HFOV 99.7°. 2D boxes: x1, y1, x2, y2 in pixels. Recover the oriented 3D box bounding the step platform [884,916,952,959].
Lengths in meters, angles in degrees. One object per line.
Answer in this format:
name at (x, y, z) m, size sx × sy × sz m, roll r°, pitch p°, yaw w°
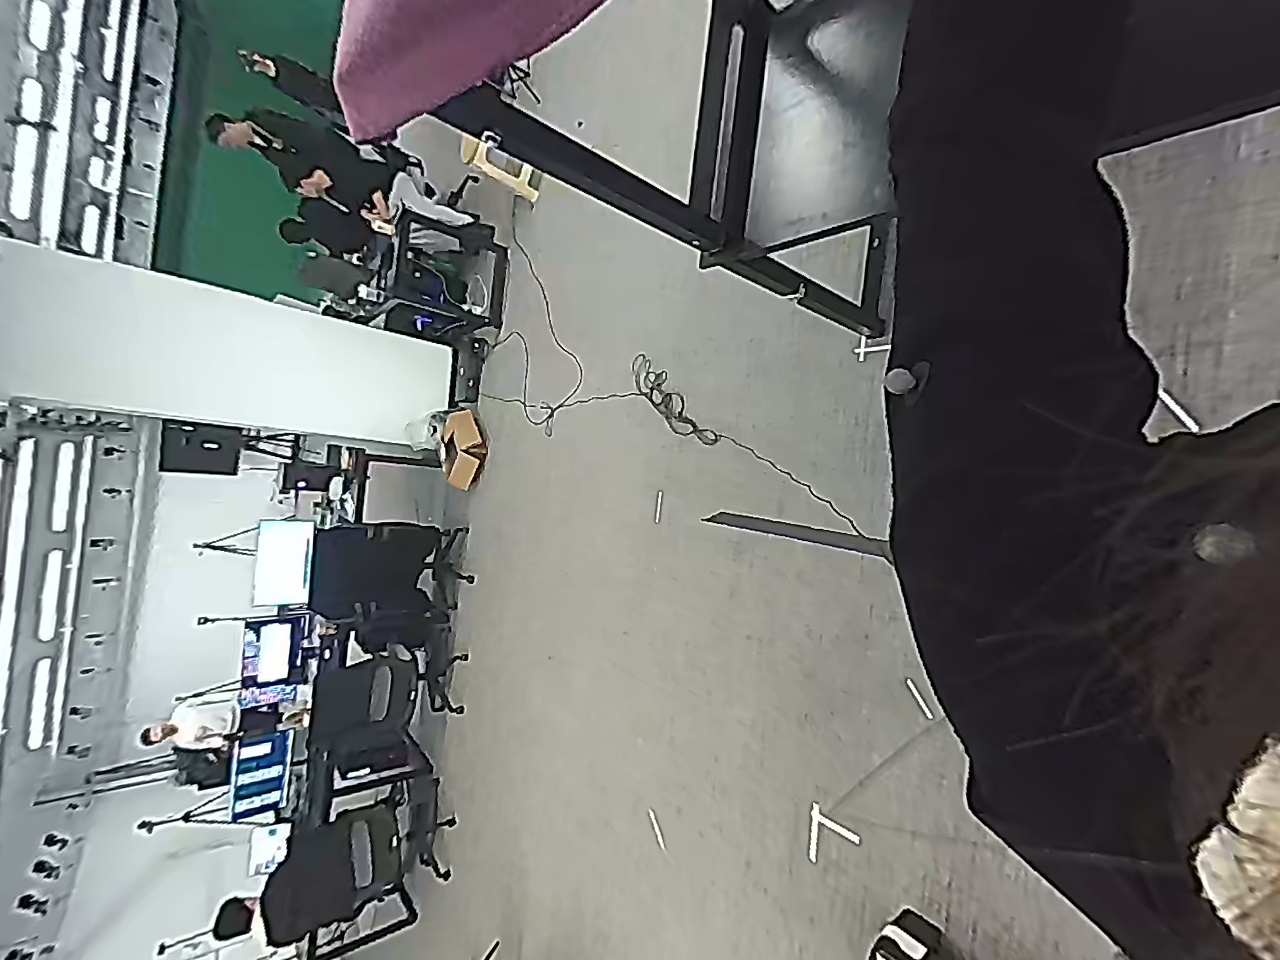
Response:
step platform at (0.836, 1.316, 1.121) m, size 0.684 × 0.204 × 0.286 m, roll 16°, pitch 97°, yaw 50°
